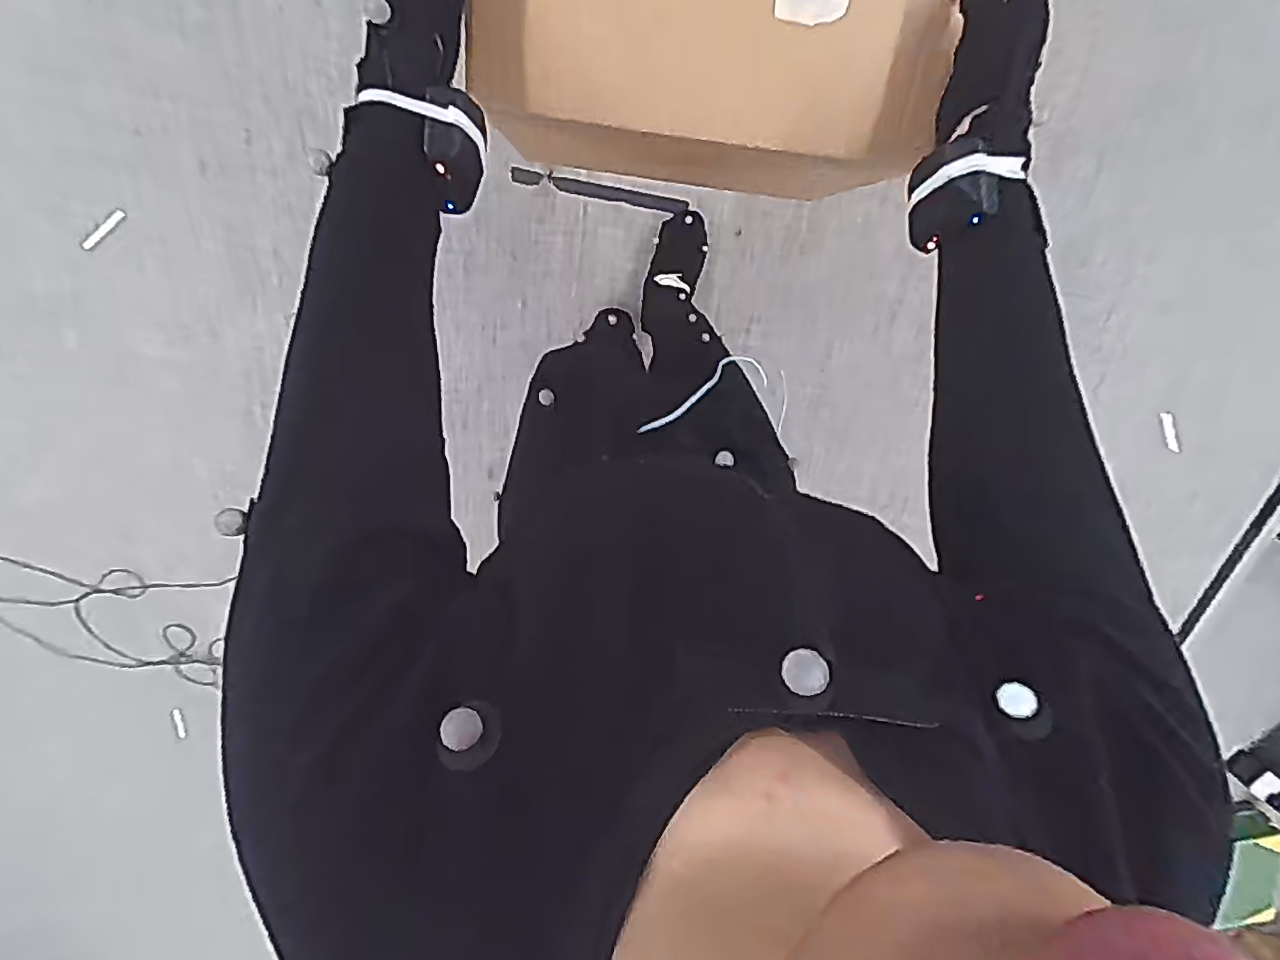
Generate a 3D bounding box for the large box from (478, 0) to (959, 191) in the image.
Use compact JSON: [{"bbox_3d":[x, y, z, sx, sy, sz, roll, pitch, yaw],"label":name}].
[{"bbox_3d":[0.065,-0.507,0.557,0.408,0.320,0.320,5,113,-5],"label":"large box"}]
